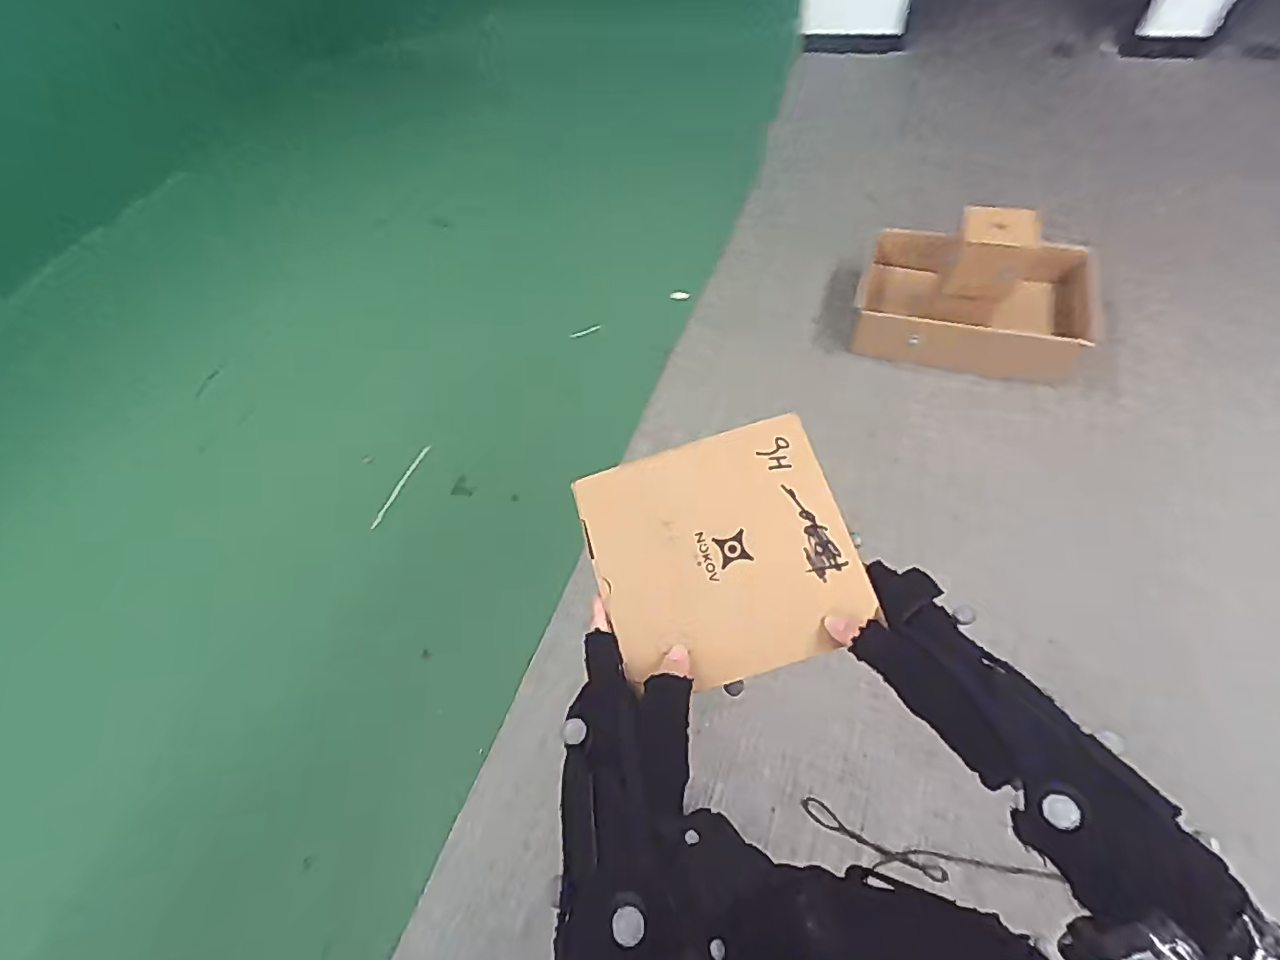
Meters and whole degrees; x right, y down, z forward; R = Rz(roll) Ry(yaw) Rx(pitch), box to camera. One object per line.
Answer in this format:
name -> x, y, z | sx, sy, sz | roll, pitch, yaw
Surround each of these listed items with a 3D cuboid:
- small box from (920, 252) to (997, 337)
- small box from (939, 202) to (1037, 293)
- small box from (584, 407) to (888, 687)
small box -> 0.975, -0.565, 1.657 | 0.168, 0.176, 0.179 | 13, 62, 15
small box -> 0.953, -0.639, 1.495 | 0.179, 0.176, 0.168 | 8, 61, 12
small box -> 0.070, 0.069, 0.460 | 0.179, 0.176, 0.168 | -19, 70, -1
